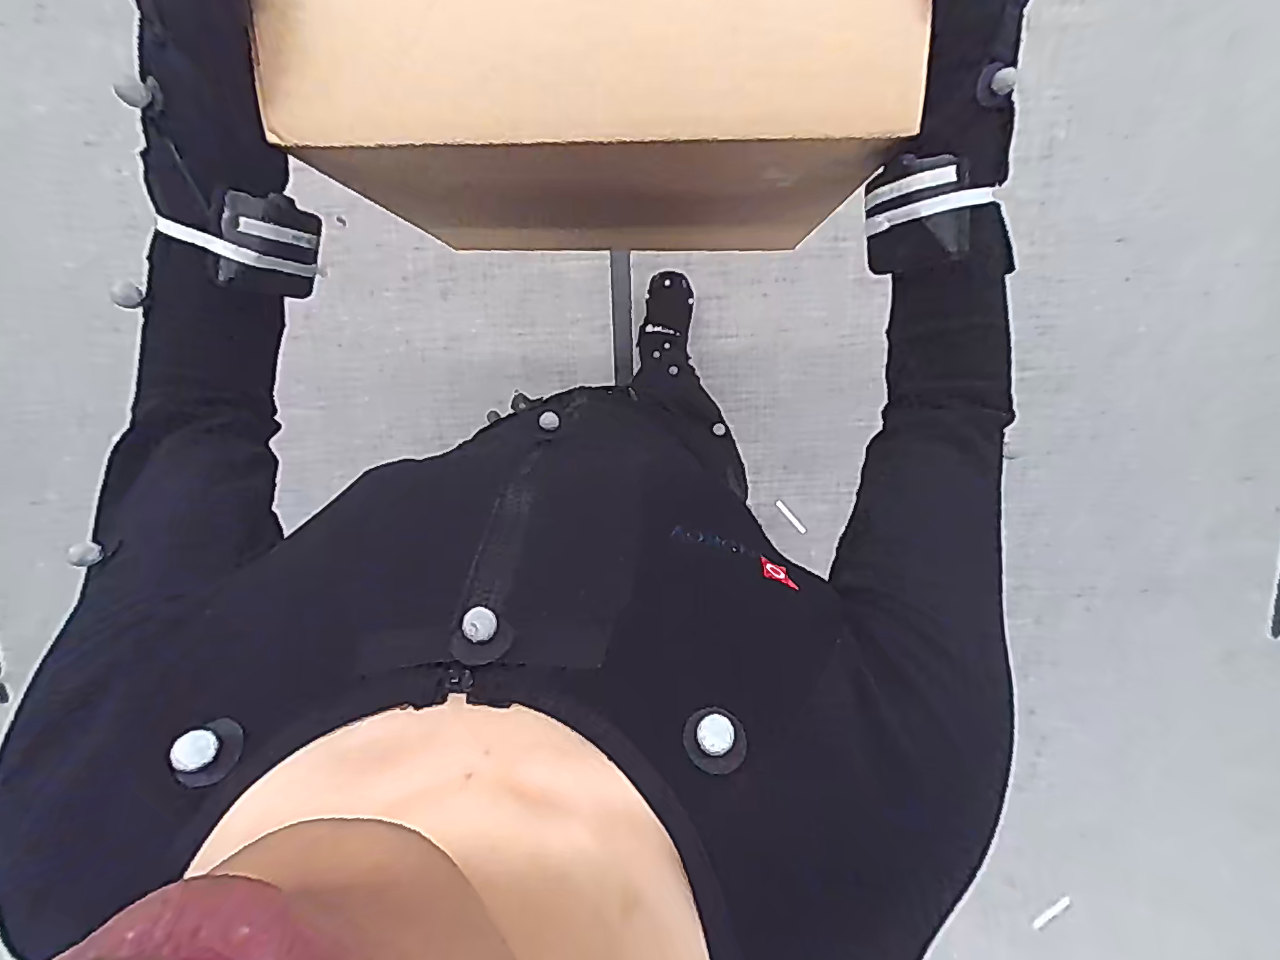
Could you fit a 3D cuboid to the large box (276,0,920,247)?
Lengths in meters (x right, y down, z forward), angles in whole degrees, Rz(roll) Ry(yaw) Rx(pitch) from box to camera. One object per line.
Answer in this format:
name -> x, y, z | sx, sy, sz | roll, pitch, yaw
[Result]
large box -> -0.026, -0.403, 0.463 | 0.408, 0.320, 0.320 | 0, 101, 2
